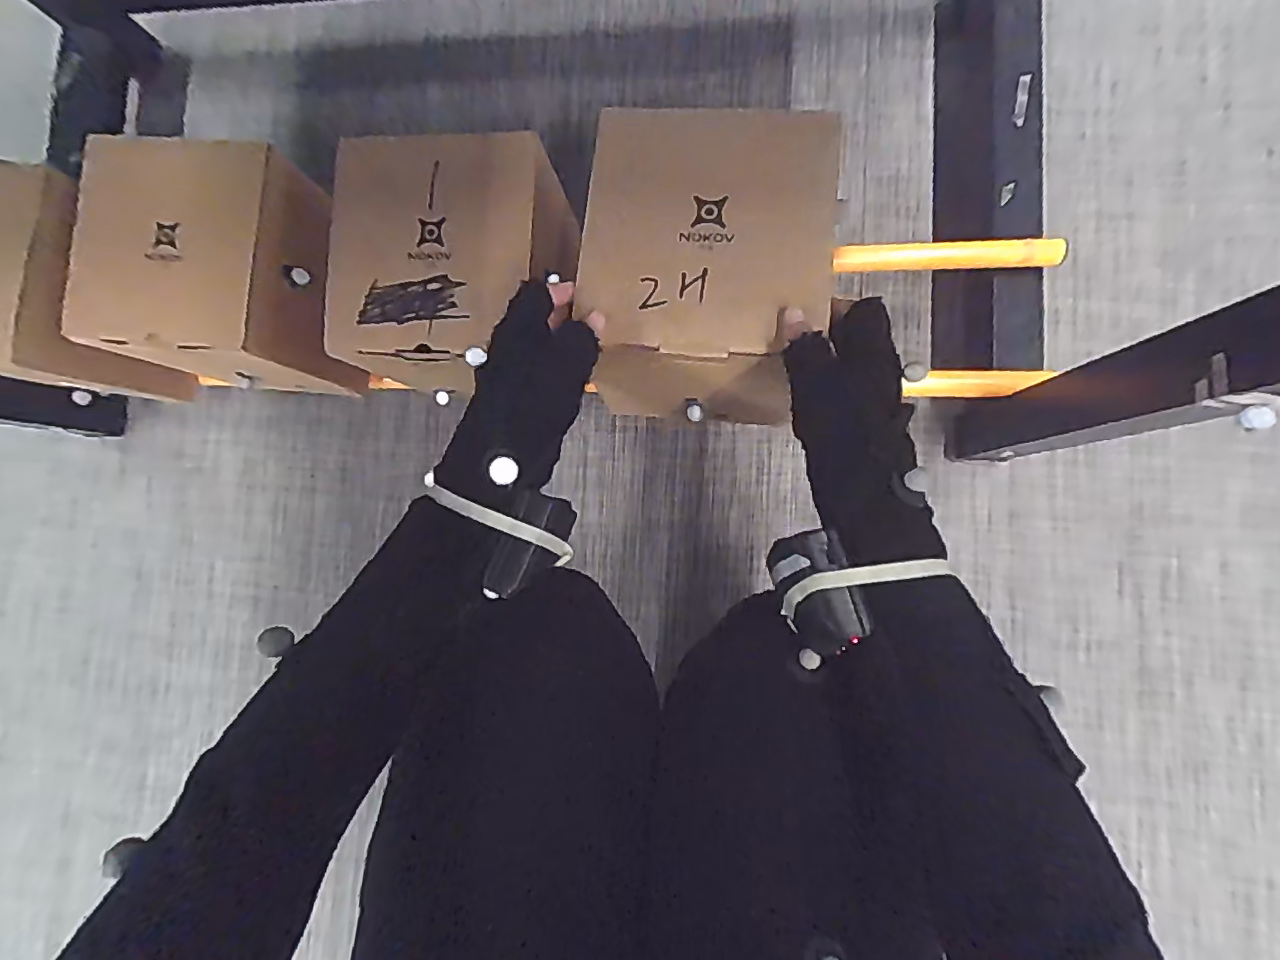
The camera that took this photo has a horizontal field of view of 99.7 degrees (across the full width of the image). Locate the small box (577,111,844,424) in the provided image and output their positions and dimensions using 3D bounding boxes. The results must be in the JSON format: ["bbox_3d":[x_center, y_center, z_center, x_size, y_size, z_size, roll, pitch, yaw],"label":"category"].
[{"bbox_3d":[0.057,-0.158,0.444,0.168,0.176,0.179,6,82,8],"label":"small box"}]
